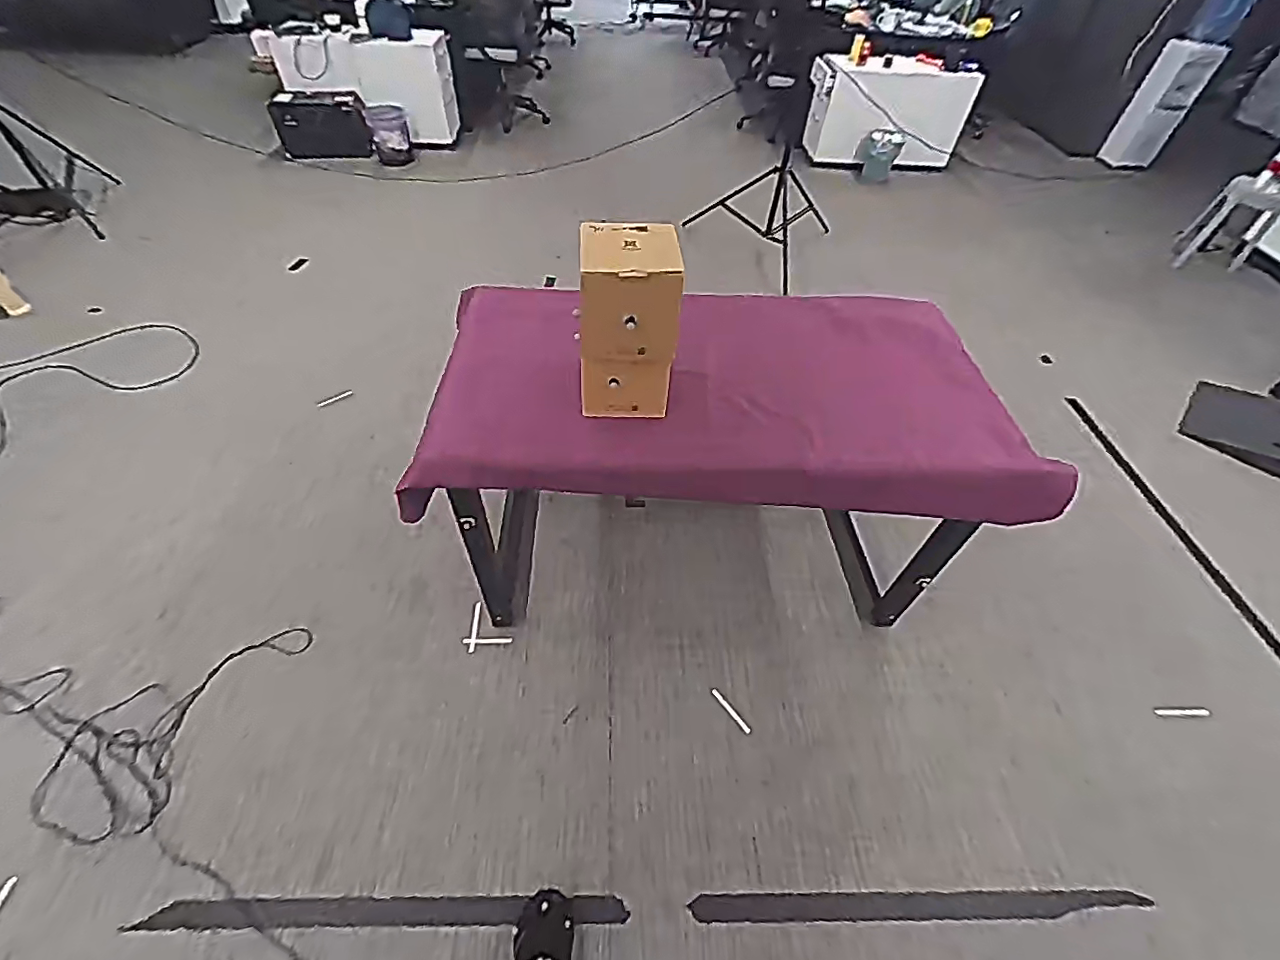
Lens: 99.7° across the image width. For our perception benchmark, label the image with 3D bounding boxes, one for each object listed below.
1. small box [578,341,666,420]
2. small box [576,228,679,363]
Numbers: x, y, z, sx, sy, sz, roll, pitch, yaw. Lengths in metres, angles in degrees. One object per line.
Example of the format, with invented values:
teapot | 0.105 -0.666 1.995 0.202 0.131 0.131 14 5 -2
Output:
small box | -0.036 -0.235 1.097 0.168 0.176 0.179 0 49 -4
small box | -0.025 -0.322 0.956 0.168 0.176 0.179 -1 50 -5
